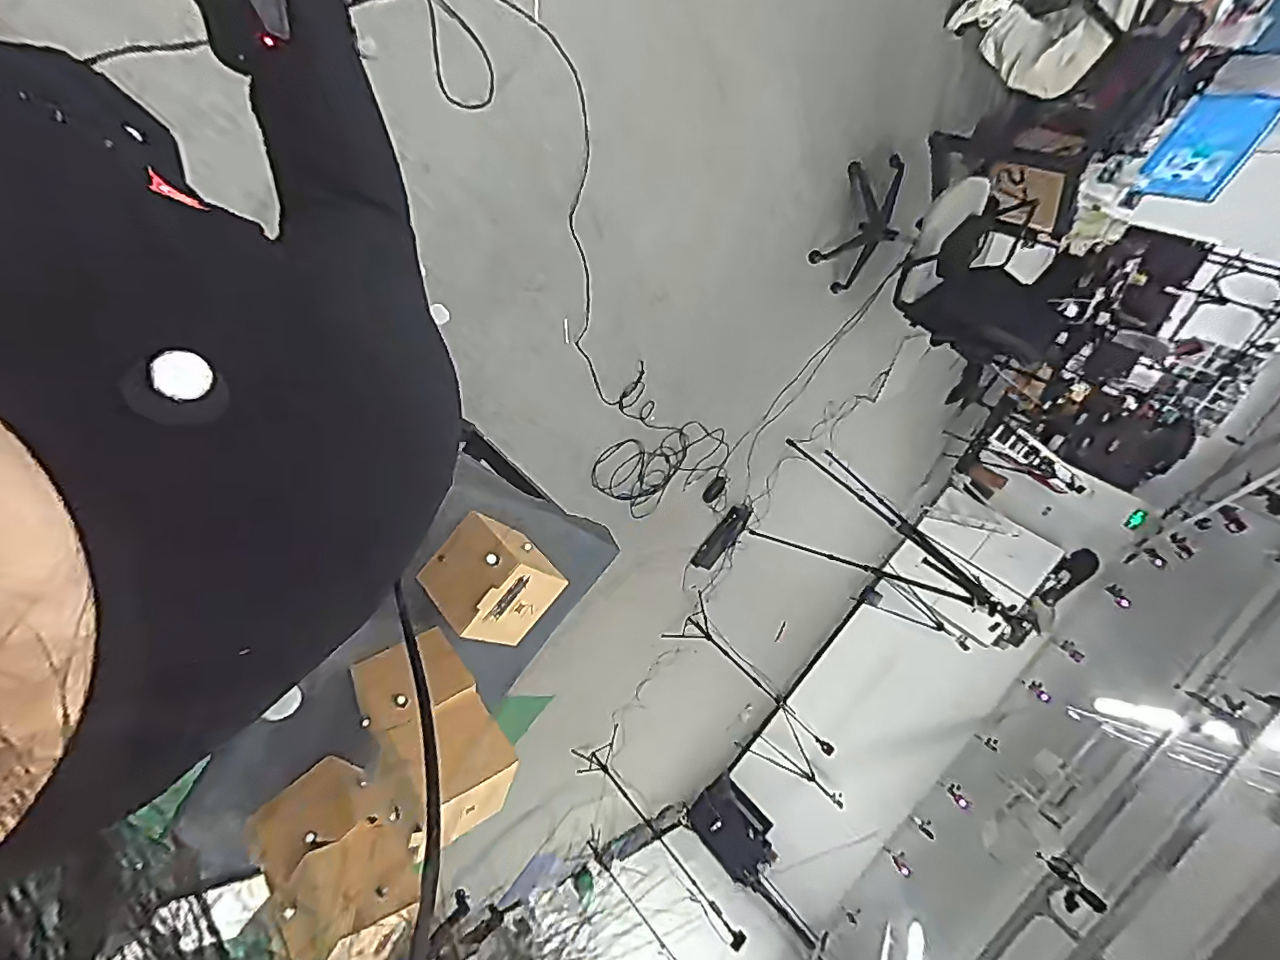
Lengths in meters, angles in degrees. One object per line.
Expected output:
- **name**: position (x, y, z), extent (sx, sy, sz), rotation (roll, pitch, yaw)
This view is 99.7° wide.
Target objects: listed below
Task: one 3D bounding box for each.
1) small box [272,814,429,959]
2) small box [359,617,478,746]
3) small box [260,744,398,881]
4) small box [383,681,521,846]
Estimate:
- **small box**: position (-0.546, 0.776, 1.020), extent (0.168, 0.176, 0.179), rotation (-56, 148, 6)
- **small box**: position (-0.446, 0.414, 1.089), extent (0.179, 0.176, 0.168), rotation (-22, 139, -38)
- **small box**: position (-0.647, 0.691, 1.119), extent (0.179, 0.176, 0.168), rotation (-38, 146, -22)
- **small box**: position (-0.352, 0.512, 0.999), extent (0.179, 0.176, 0.168), rotation (-12, 132, -47)
